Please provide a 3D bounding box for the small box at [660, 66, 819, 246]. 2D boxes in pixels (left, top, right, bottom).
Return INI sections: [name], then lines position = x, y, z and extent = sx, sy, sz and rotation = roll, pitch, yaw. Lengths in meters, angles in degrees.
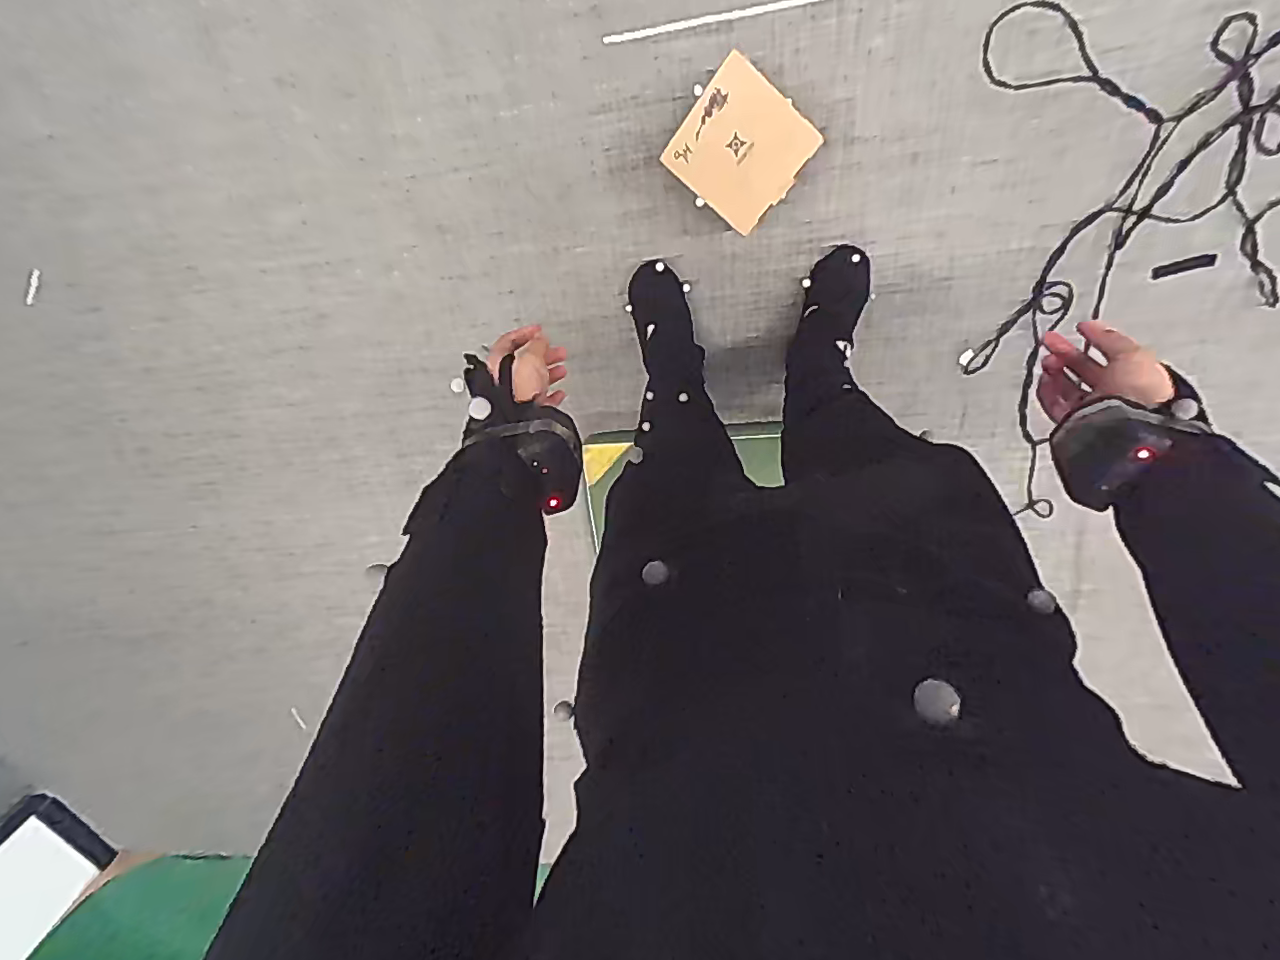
[small box]
position = 0.154, -0.509, 0.864
extent = 0.179, 0.176, 0.168
rotation = 36, 117, -13
